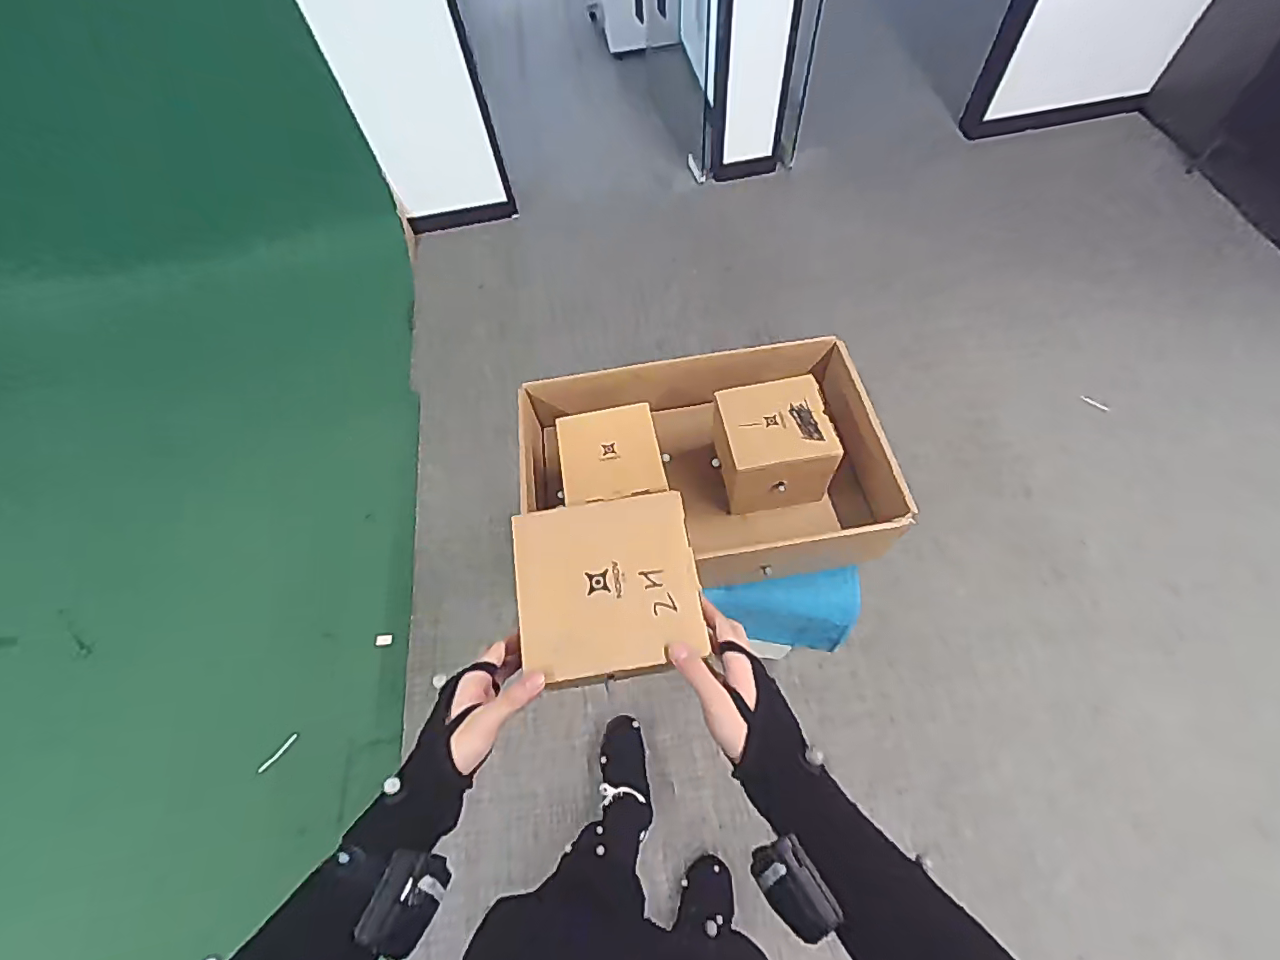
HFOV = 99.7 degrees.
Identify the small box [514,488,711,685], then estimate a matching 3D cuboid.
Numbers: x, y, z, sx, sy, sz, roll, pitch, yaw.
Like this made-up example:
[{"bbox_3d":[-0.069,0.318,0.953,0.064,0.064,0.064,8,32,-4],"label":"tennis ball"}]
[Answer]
[{"bbox_3d":[-0.029,0.125,0.594,0.179,0.176,0.168,-9,68,-3],"label":"small box"}]
